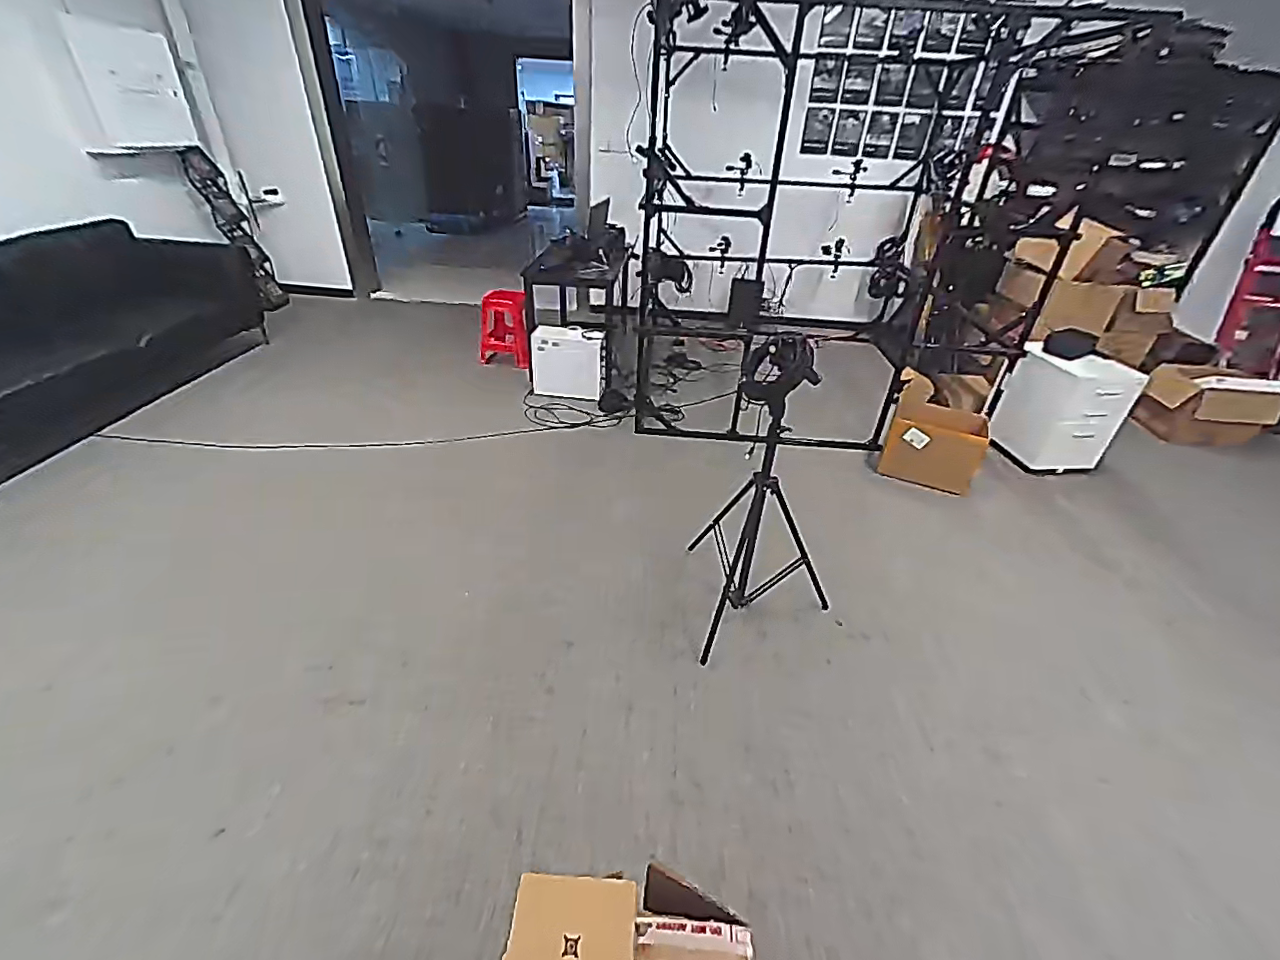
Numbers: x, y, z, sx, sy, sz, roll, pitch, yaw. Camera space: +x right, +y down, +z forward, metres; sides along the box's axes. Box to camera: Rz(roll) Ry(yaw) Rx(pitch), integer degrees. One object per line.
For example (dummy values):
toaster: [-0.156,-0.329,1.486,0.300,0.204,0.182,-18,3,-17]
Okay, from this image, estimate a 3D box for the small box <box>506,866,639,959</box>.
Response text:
small box: [-0.091,0.671,0.745,0.168,0.176,0.179,3,36,2]
